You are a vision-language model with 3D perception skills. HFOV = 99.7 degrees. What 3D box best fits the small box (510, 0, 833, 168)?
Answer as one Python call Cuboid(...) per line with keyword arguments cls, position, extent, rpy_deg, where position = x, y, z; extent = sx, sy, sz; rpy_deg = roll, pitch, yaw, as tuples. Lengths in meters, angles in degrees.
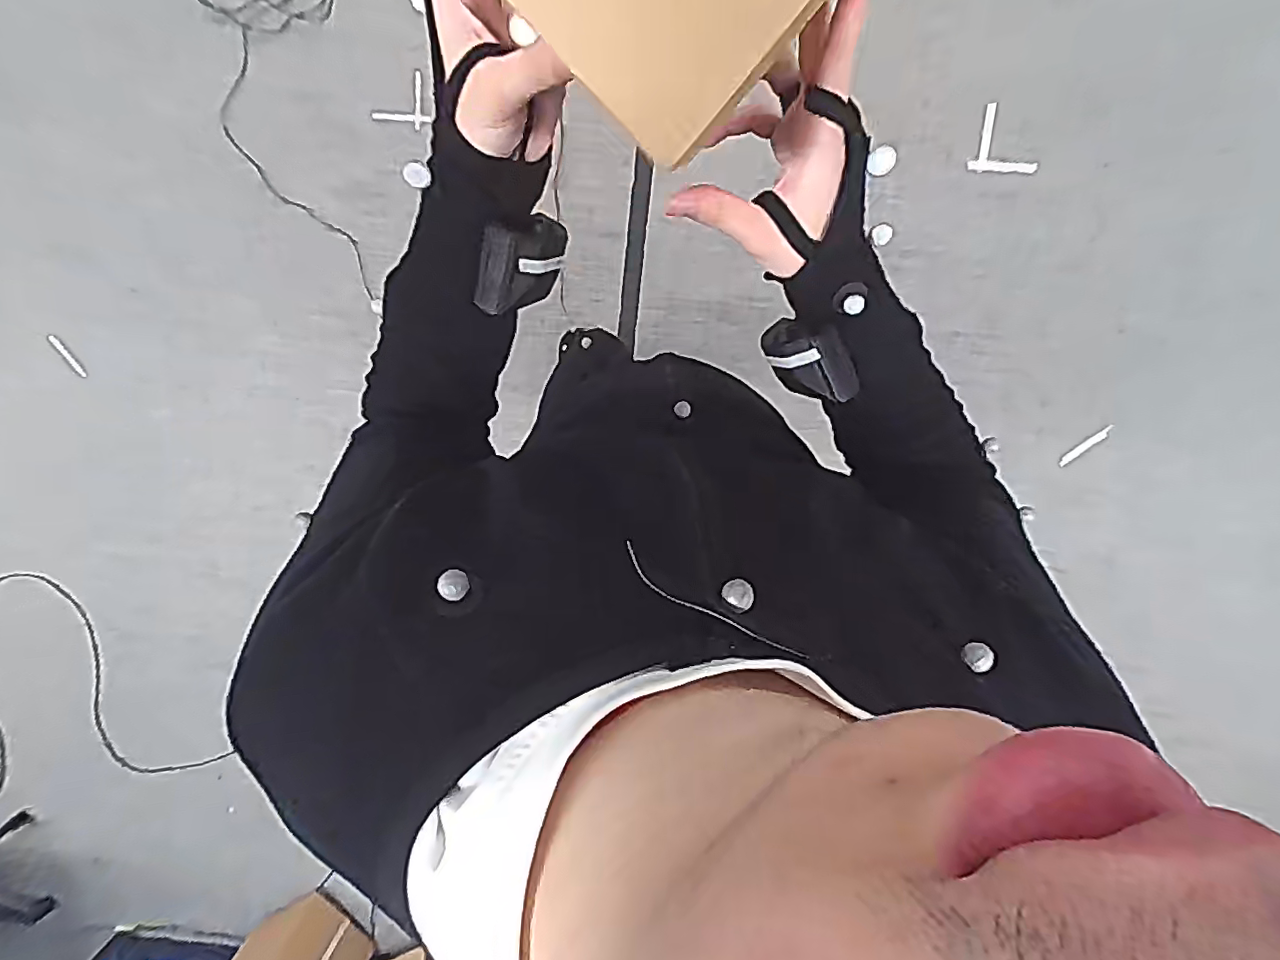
Cuboid(cls="small box", position=(0.017, -0.245, 0.188), extent=(0.168, 0.176, 0.179), rpy_deg=(41, 118, -16))
